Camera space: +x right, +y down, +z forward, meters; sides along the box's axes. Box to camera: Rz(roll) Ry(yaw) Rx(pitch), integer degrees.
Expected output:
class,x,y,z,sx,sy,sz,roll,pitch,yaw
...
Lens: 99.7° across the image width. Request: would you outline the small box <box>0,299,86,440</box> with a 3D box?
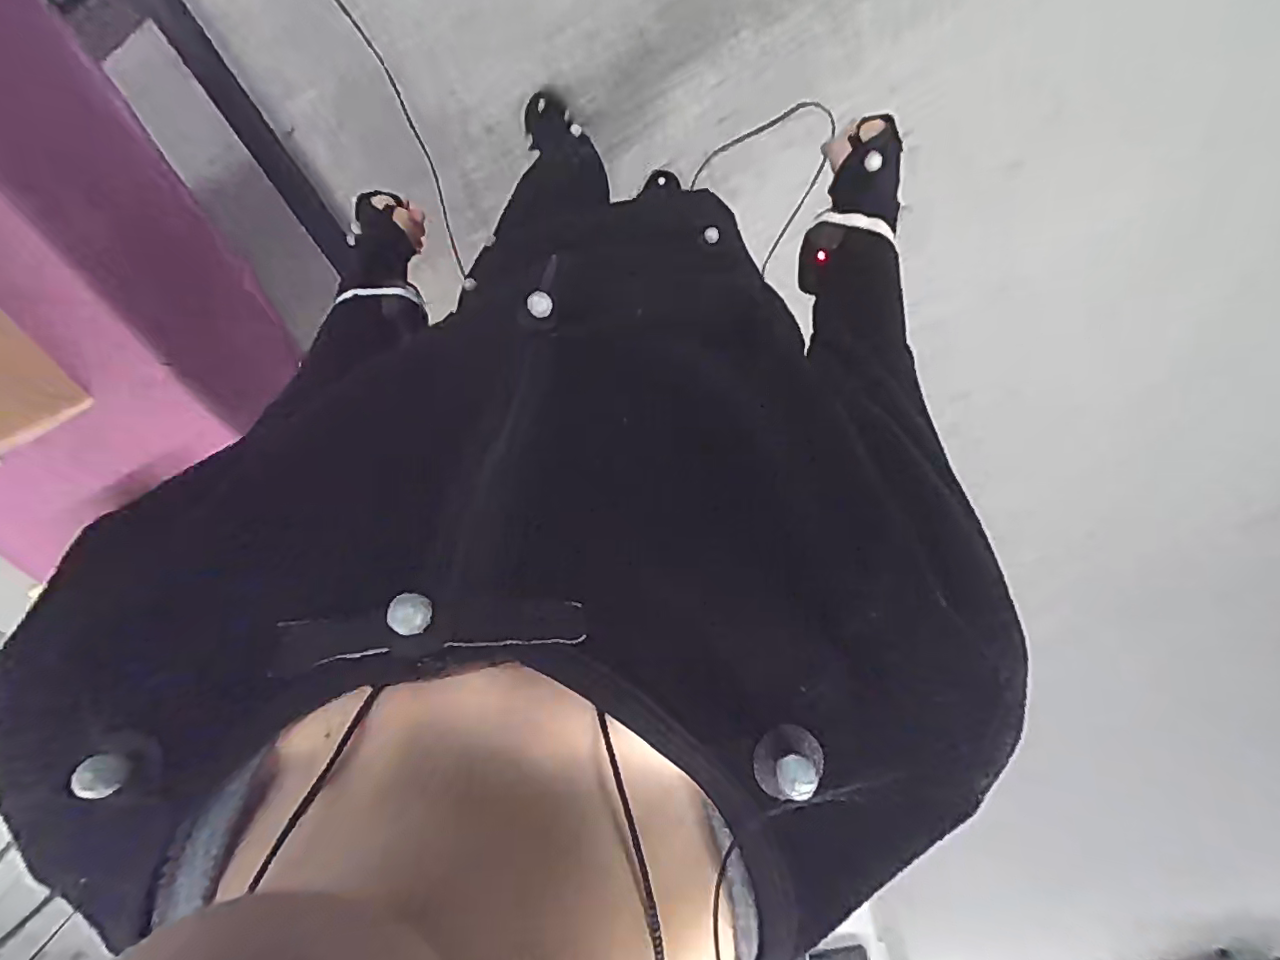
class,x,y,z,sx,sy,sz,roll,pitch,yaw
small box,-0.903,-0.129,0.698,0.168,0.176,0.179,-20,118,16
